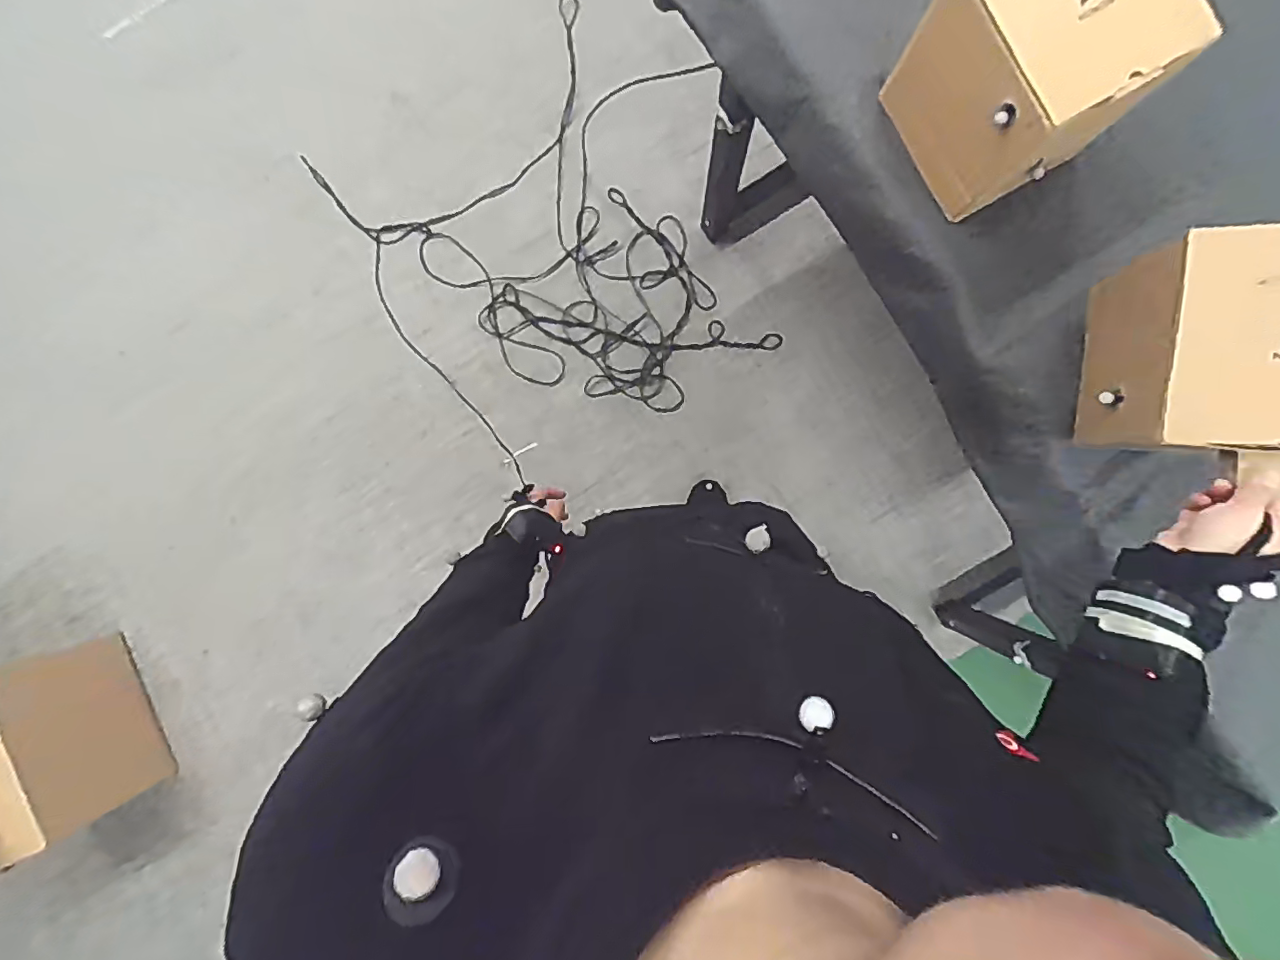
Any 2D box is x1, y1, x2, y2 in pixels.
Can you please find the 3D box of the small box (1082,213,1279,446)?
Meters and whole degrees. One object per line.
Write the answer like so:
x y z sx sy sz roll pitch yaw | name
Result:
0.534 -0.121 0.486 0.168 0.176 0.179 3 93 18 | small box

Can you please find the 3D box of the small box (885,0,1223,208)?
0.382 -0.417 0.537 0.168 0.176 0.179 -29 89 1 | small box

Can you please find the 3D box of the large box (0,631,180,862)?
-1.429 0.635 1.289 0.320 0.320 0.408 -24 87 2 | large box
